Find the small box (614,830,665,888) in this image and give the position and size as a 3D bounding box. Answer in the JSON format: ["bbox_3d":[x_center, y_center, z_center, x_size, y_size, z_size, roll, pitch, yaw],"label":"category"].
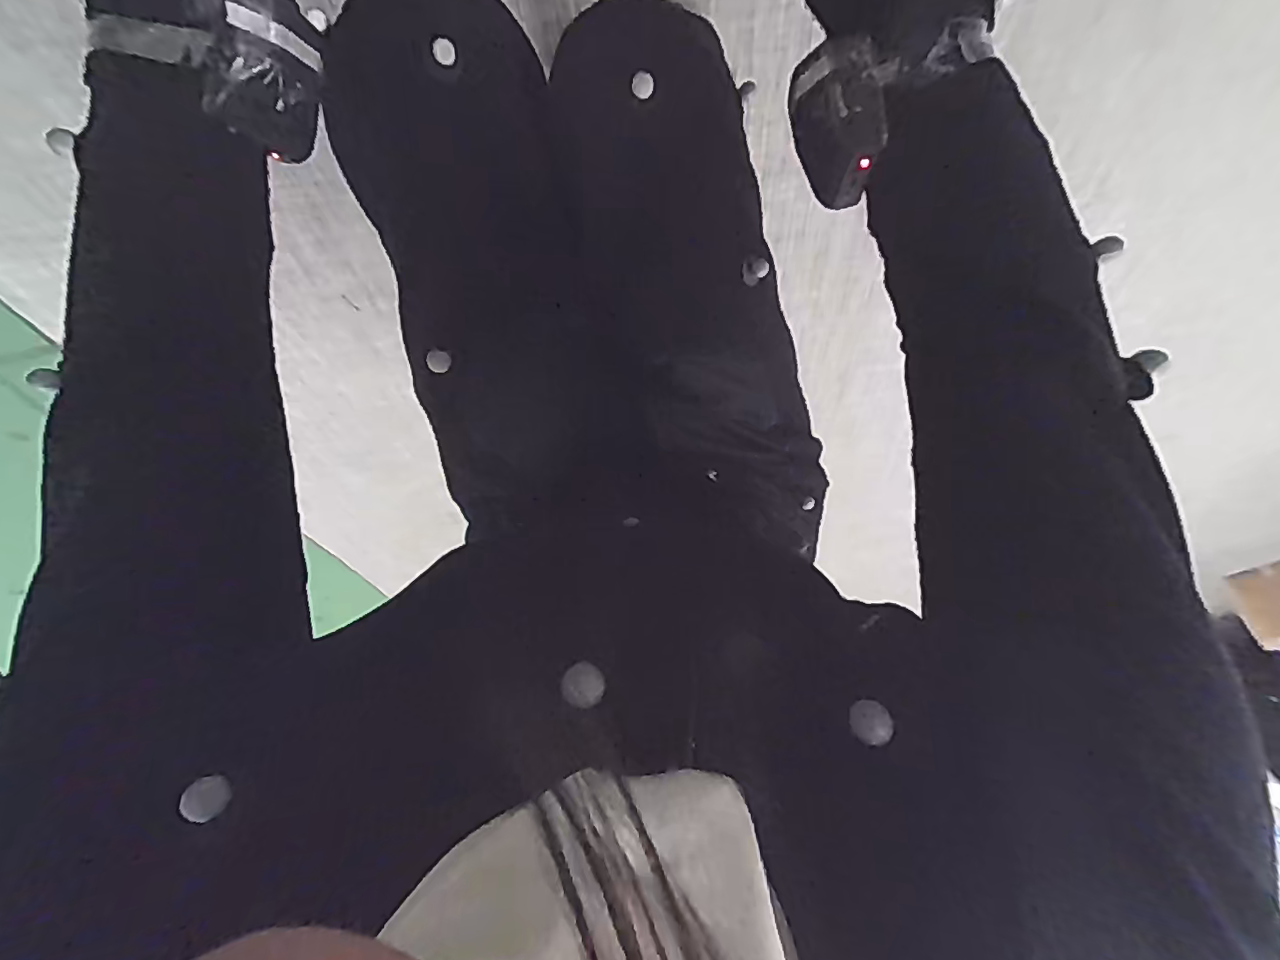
[{"bbox_3d":[0.000,1.497,2.141,0.179,0.176,0.168,-8,146,1],"label":"small box"}]
